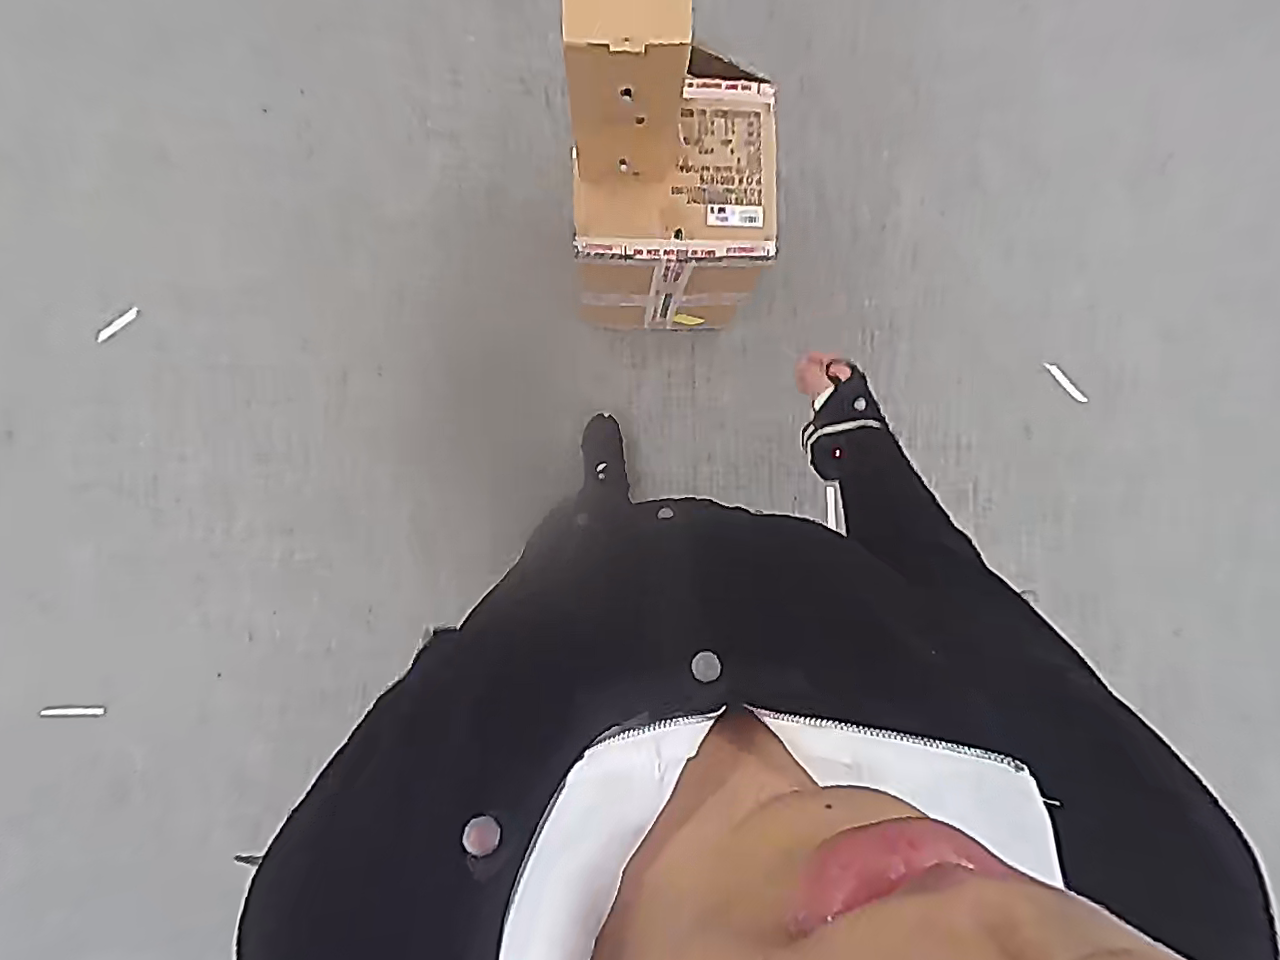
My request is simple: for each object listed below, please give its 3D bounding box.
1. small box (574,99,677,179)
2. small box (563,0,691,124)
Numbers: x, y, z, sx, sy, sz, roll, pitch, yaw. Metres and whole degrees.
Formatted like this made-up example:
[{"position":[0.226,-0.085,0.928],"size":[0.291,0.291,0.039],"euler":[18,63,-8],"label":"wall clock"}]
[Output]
[{"position":[-0.026,-0.649,0.928],"size":[0.168,0.176,0.179],"euler":[-2,92,-1],"label":"small box"},{"position":[-0.016,-0.636,0.763],"size":[0.168,0.176,0.179],"euler":[0,92,-1],"label":"small box"}]
